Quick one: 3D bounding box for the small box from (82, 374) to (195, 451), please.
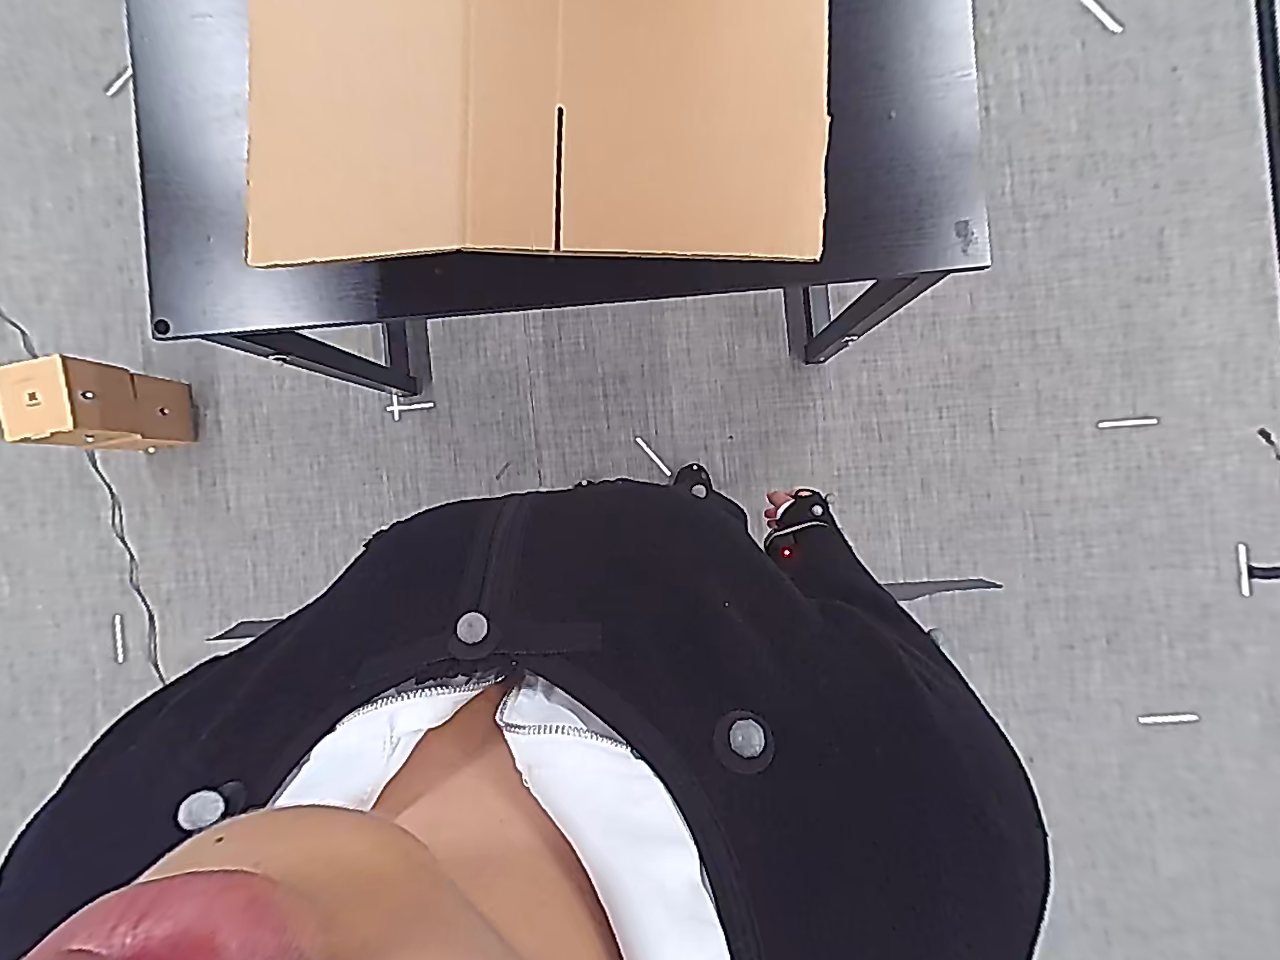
[{"bbox_3d":[-1.362,-0.177,1.468,0.168,0.176,0.179,-8,91,2],"label":"small box"}]

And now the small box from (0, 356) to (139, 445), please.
[{"bbox_3d":[-1.368,-0.183,1.305,0.168,0.176,0.179,-11,89,1],"label":"small box"}]
